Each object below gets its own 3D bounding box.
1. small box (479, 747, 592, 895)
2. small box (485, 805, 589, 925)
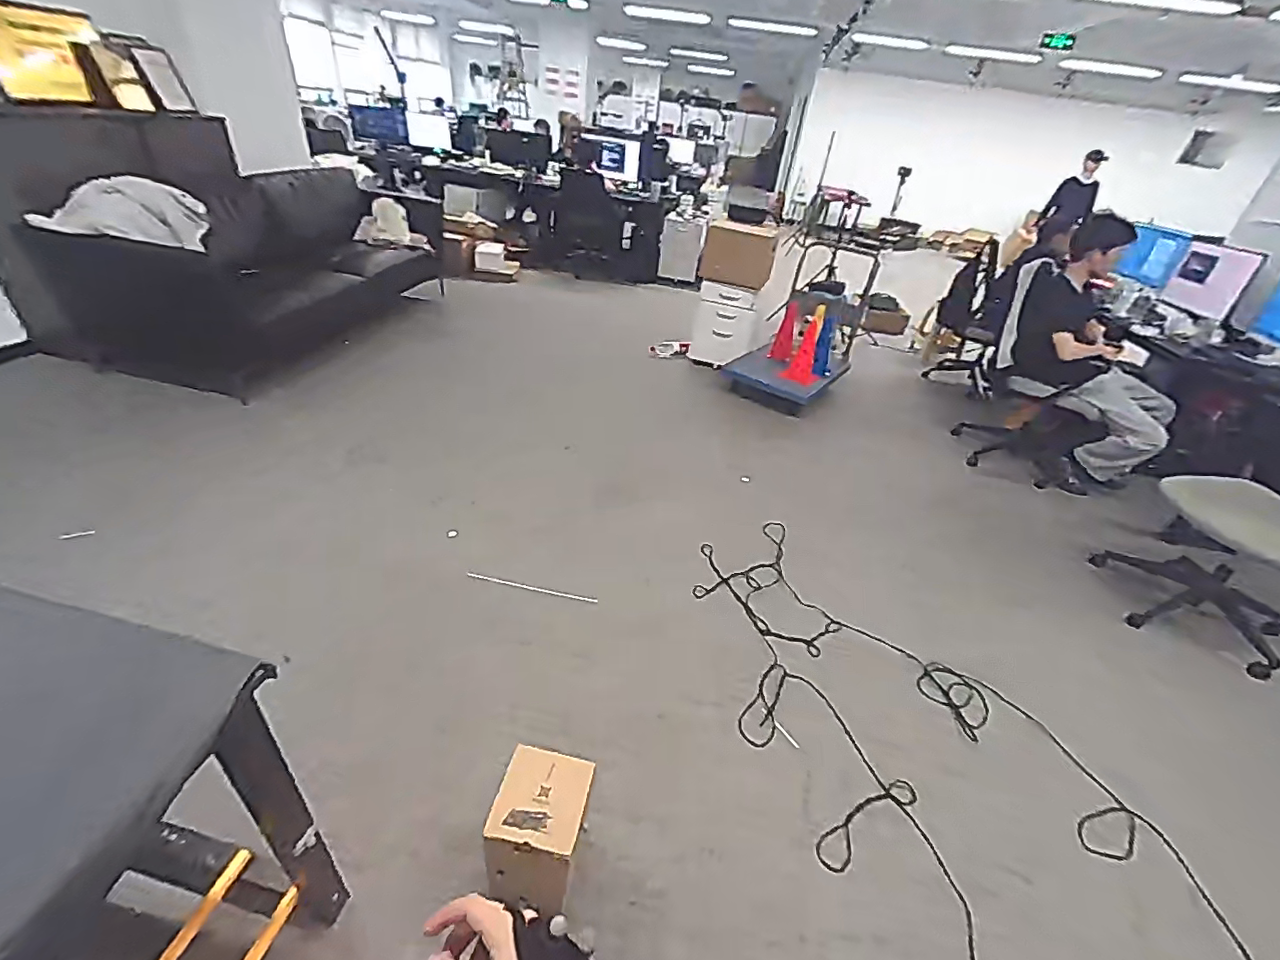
[{"bbox_3d":[-0.197,0.664,1.053,0.168,0.176,0.179,12,33,5],"label":"small box"},{"bbox_3d":[-0.218,0.793,1.153,0.168,0.176,0.179,12,32,7],"label":"small box"}]
